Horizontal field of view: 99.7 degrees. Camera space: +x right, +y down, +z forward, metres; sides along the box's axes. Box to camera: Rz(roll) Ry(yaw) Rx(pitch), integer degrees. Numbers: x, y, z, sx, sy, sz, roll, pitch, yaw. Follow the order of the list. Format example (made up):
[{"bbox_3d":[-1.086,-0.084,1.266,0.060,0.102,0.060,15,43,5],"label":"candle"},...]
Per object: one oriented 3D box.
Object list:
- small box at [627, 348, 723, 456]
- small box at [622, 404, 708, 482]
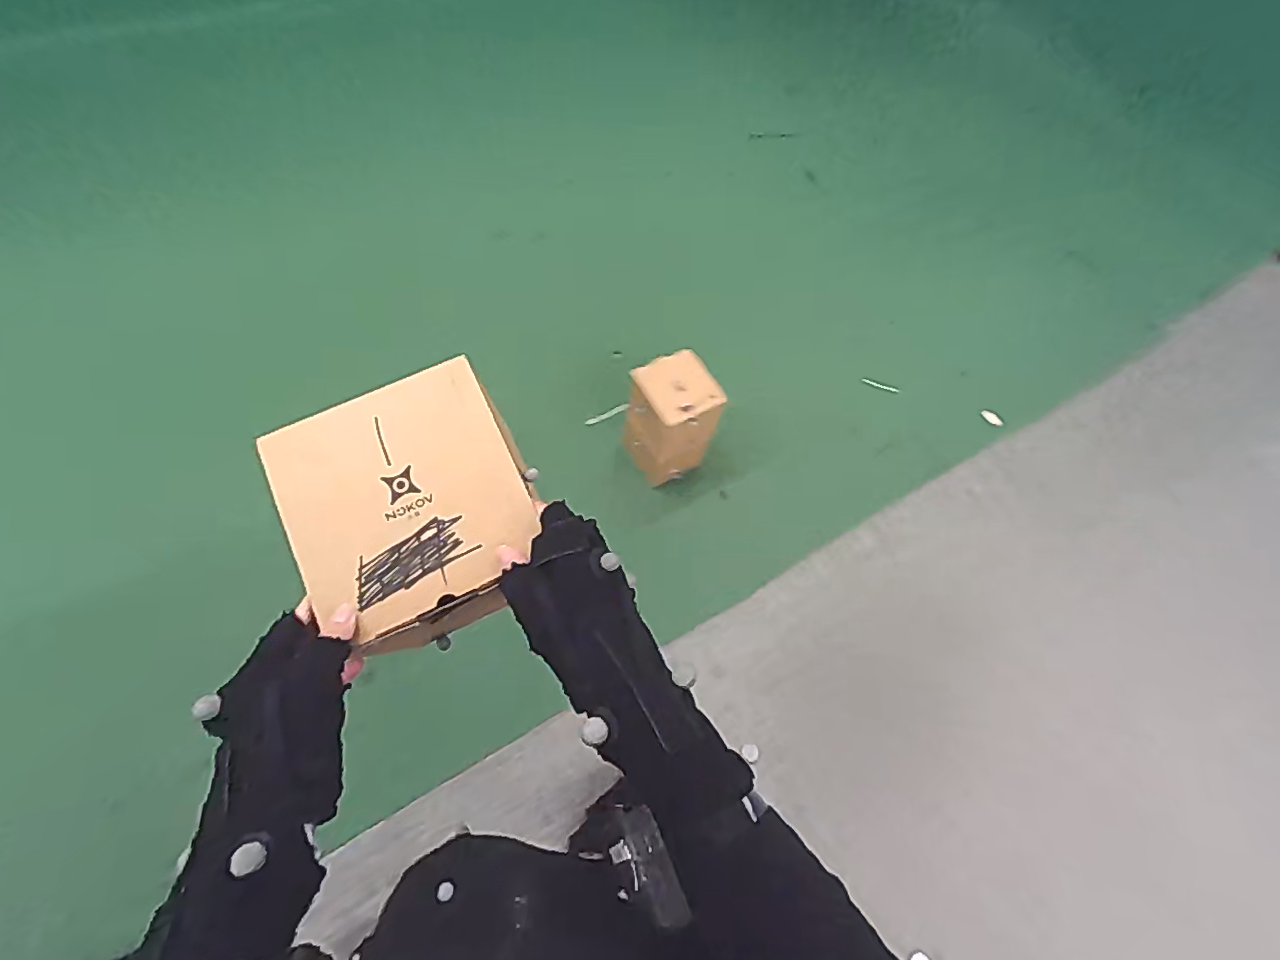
[{"bbox_3d":[0.077,-0.192,1.357,0.168,0.176,0.179,-26,69,-17],"label":"small box"},{"bbox_3d":[0.060,-0.125,1.485,0.168,0.176,0.179,-26,70,-15],"label":"small box"}]
